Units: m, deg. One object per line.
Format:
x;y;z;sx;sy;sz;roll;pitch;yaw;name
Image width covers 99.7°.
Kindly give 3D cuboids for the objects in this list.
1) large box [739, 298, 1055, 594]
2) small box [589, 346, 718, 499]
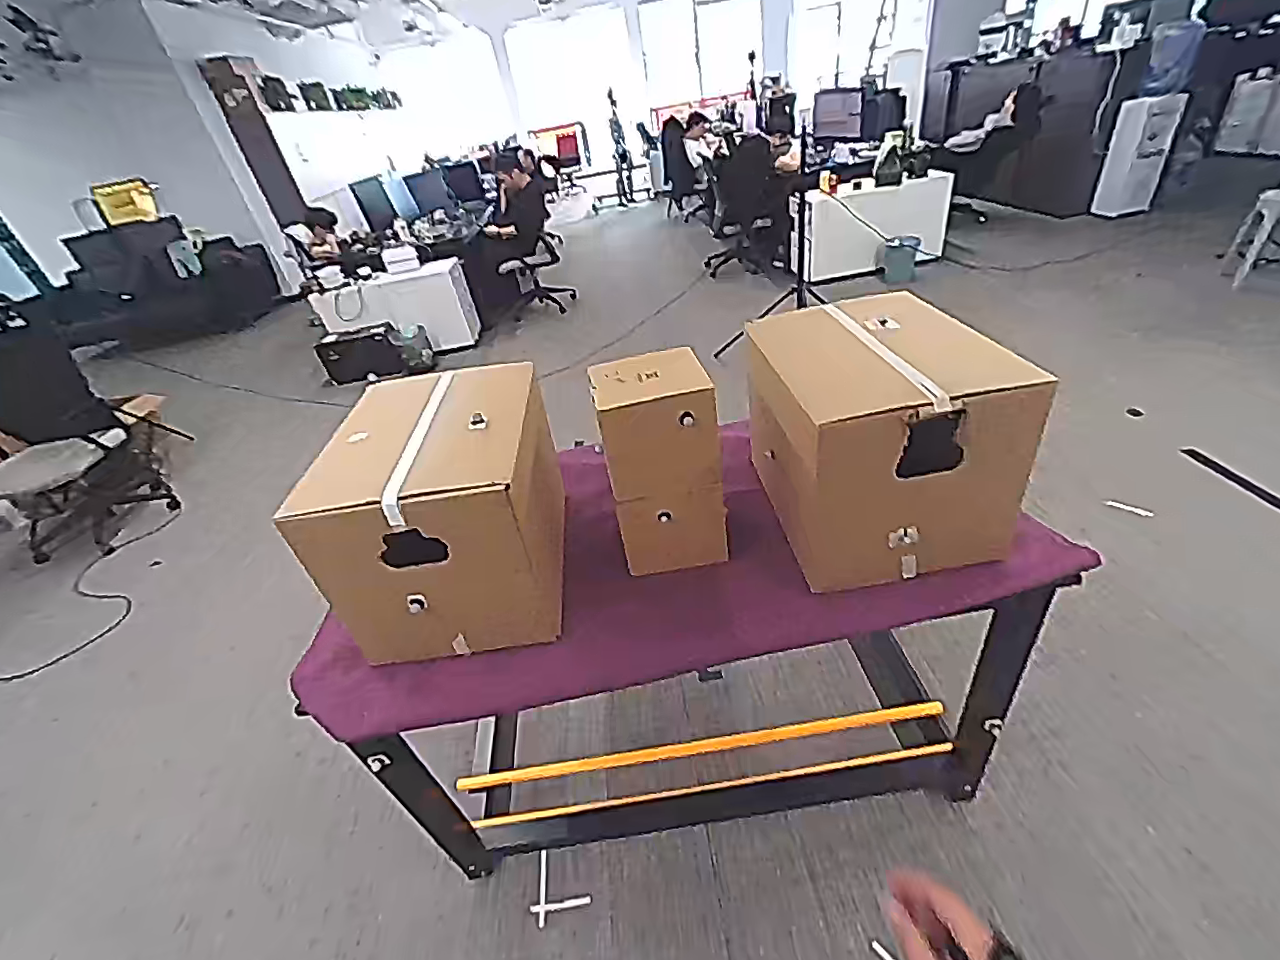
0.377;-0.076;0.917;0.320;0.320;0.408;-10;34;0;large box
0.023;-0.092;0.866;0.179;0.176;0.168;-13;34;-1;small box
